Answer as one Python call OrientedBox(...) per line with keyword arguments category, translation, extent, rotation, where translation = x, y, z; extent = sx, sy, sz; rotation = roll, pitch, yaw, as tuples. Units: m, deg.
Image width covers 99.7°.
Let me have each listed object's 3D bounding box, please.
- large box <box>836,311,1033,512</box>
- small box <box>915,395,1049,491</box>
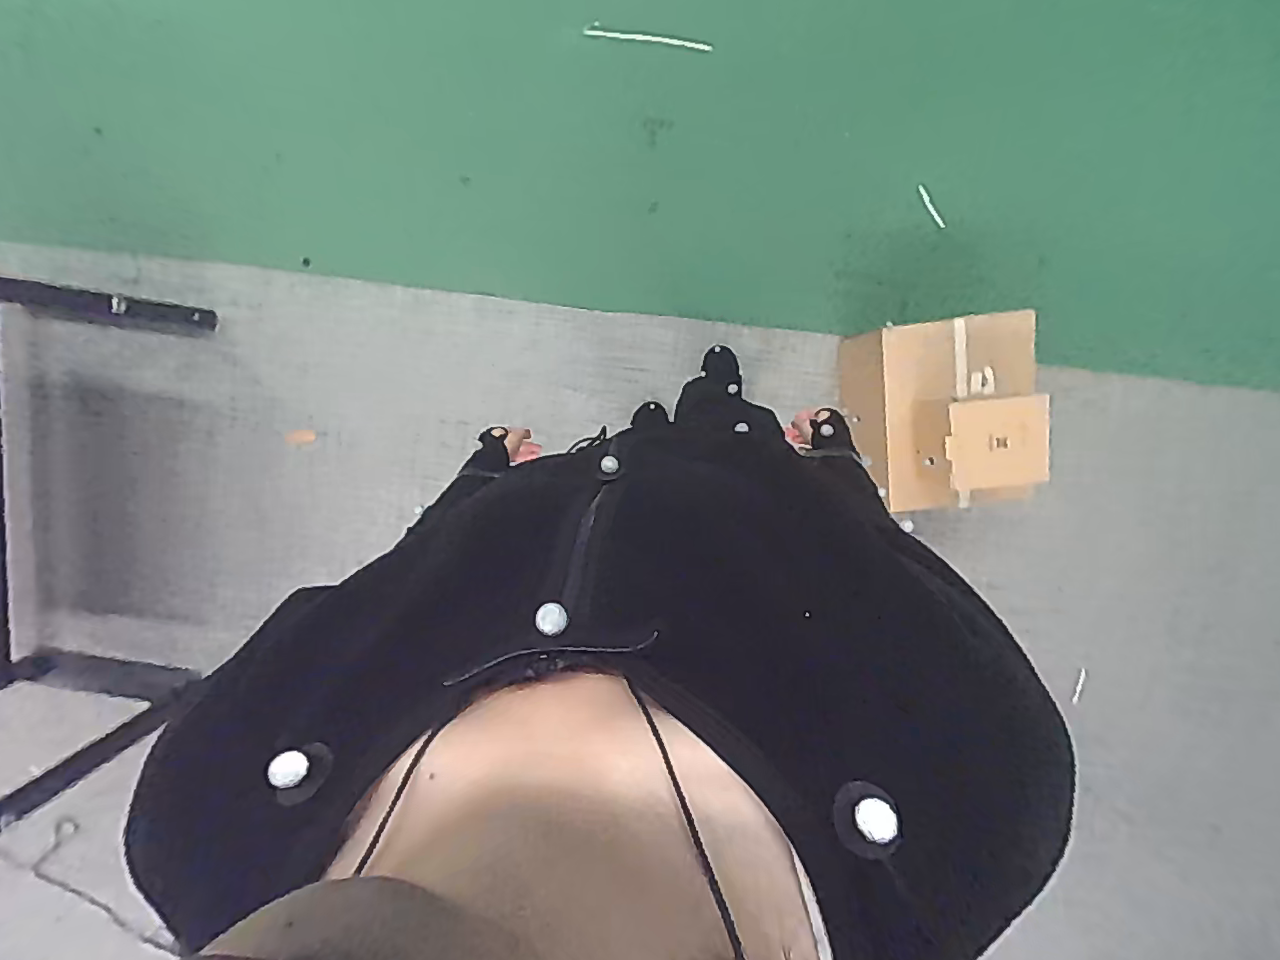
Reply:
OrientedBox(category="large box", translation=(0.681, -0.159, 1.299), extent=(0.320, 0.320, 0.408), rotation=(-6, 98, 3))
OrientedBox(category="small box", translation=(0.659, -0.077, 1.064), extent=(0.179, 0.176, 0.168), rotation=(-5, 99, 4))
